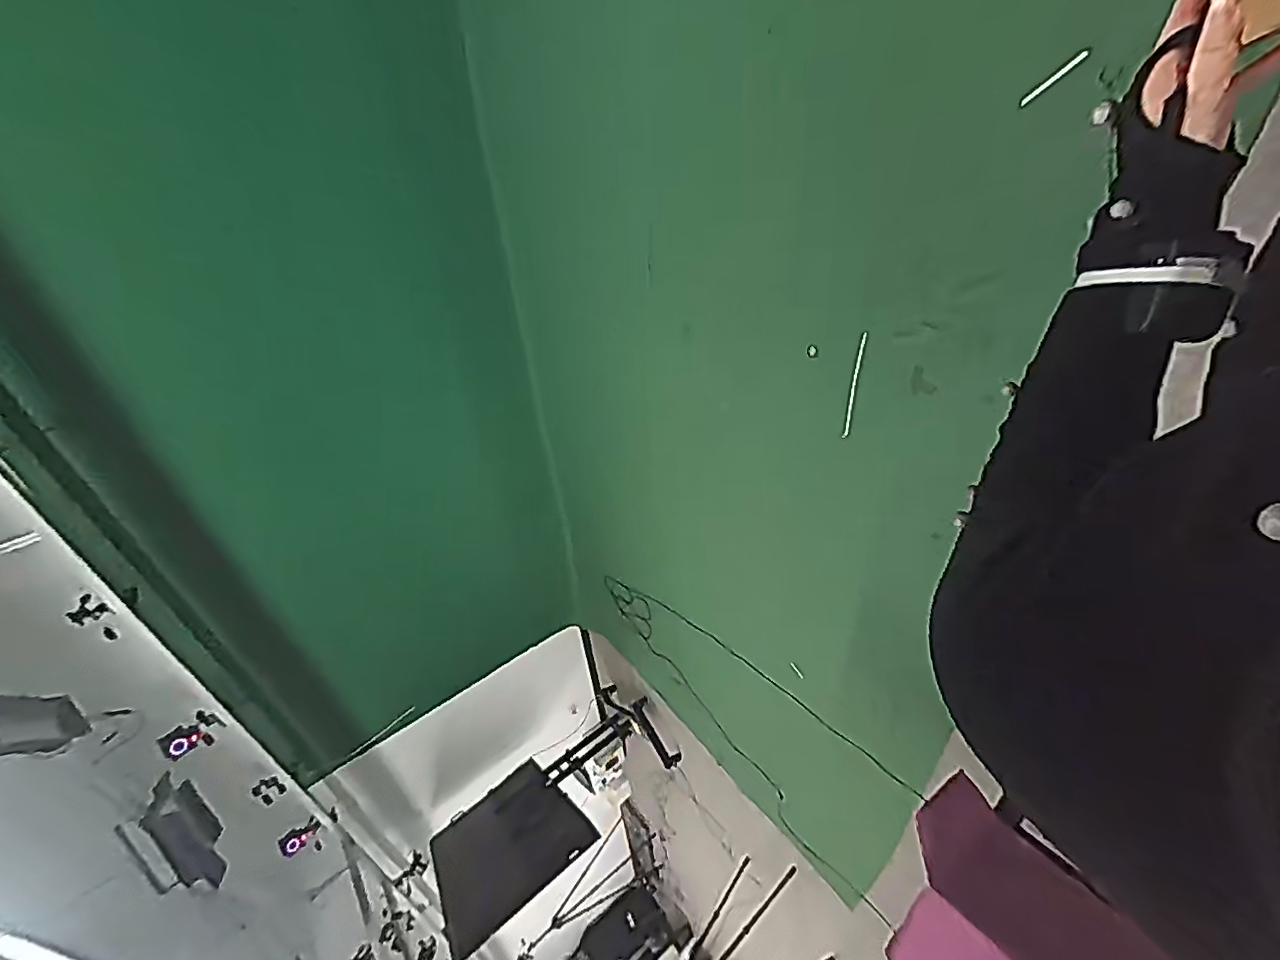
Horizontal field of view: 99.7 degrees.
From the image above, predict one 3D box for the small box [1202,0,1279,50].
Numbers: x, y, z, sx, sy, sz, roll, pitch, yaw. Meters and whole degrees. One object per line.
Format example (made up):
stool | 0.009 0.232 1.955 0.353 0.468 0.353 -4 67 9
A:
small box | 0.383 -0.333 0.237 0.179 0.176 0.168 -6 111 38
